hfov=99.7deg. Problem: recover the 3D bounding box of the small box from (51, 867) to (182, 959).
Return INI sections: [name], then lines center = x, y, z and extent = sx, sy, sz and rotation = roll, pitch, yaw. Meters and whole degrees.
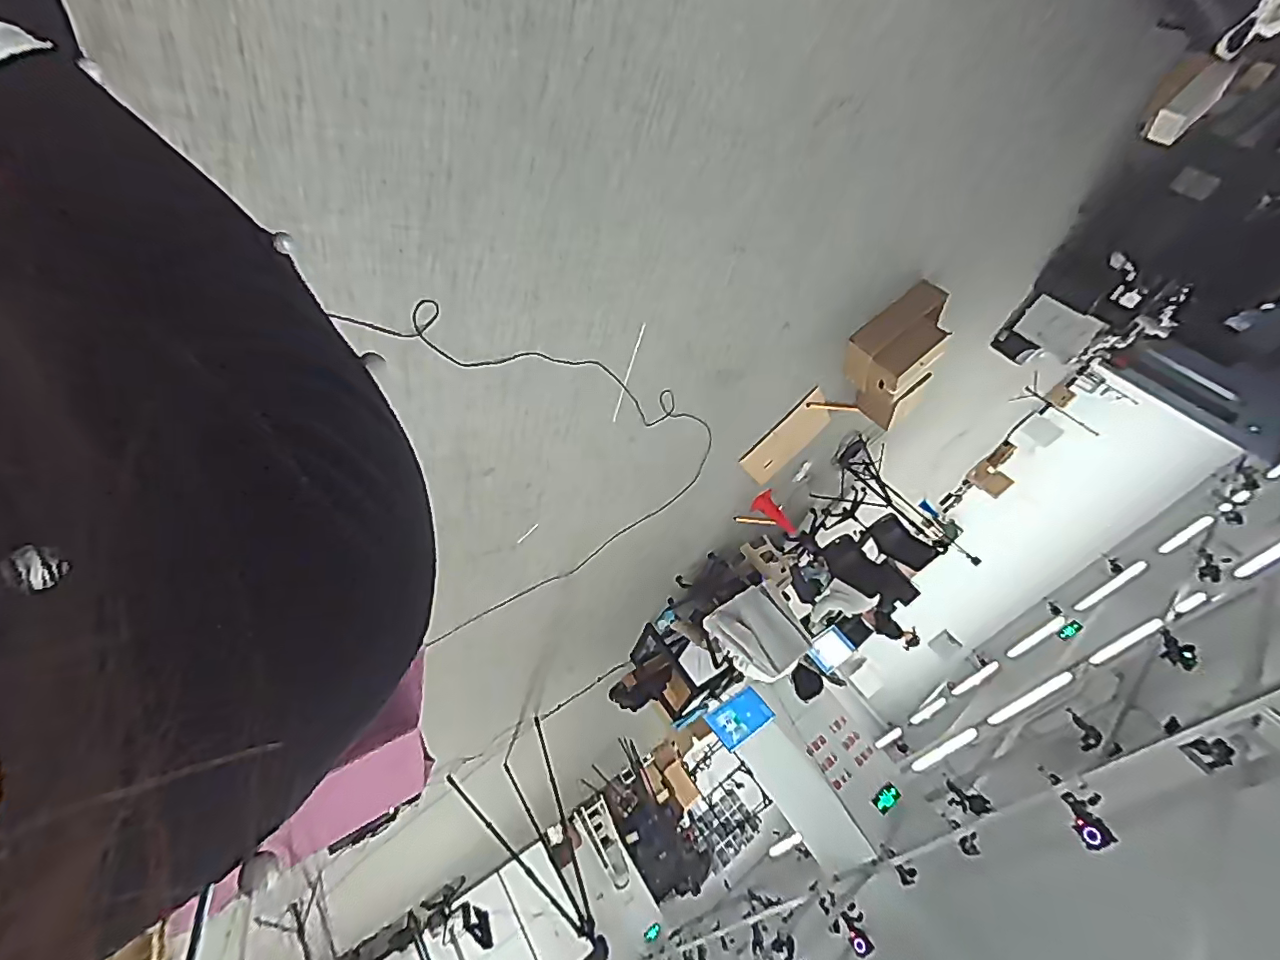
[small box]
center = -1.203, 1.040, 1.246
extent = 0.179, 0.176, 0.168
rotation = -17, 145, -35
